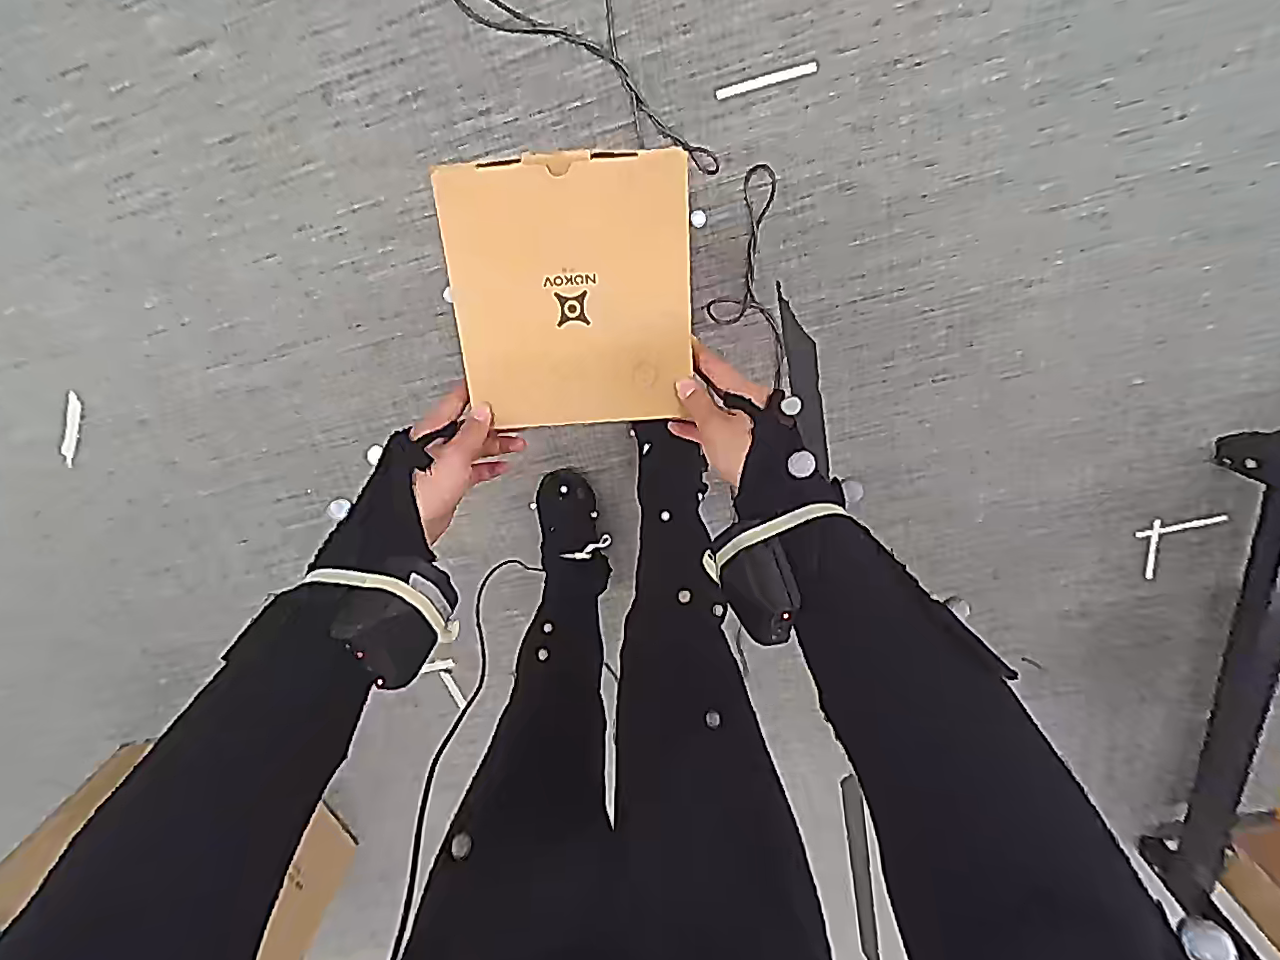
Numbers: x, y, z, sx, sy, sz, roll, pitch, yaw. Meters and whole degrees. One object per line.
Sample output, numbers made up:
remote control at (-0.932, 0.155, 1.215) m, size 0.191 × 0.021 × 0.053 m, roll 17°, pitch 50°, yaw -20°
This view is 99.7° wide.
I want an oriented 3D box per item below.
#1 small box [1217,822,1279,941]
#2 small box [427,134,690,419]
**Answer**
small box at (1.375, 0.840, 1.123) m, size 0.179 × 0.176 × 0.168 m, roll -12°, pitch 113°, yaw 7°
small box at (-0.048, -0.159, 0.443) m, size 0.168 × 0.176 × 0.179 m, roll -4°, pitch 110°, yaw 1°
